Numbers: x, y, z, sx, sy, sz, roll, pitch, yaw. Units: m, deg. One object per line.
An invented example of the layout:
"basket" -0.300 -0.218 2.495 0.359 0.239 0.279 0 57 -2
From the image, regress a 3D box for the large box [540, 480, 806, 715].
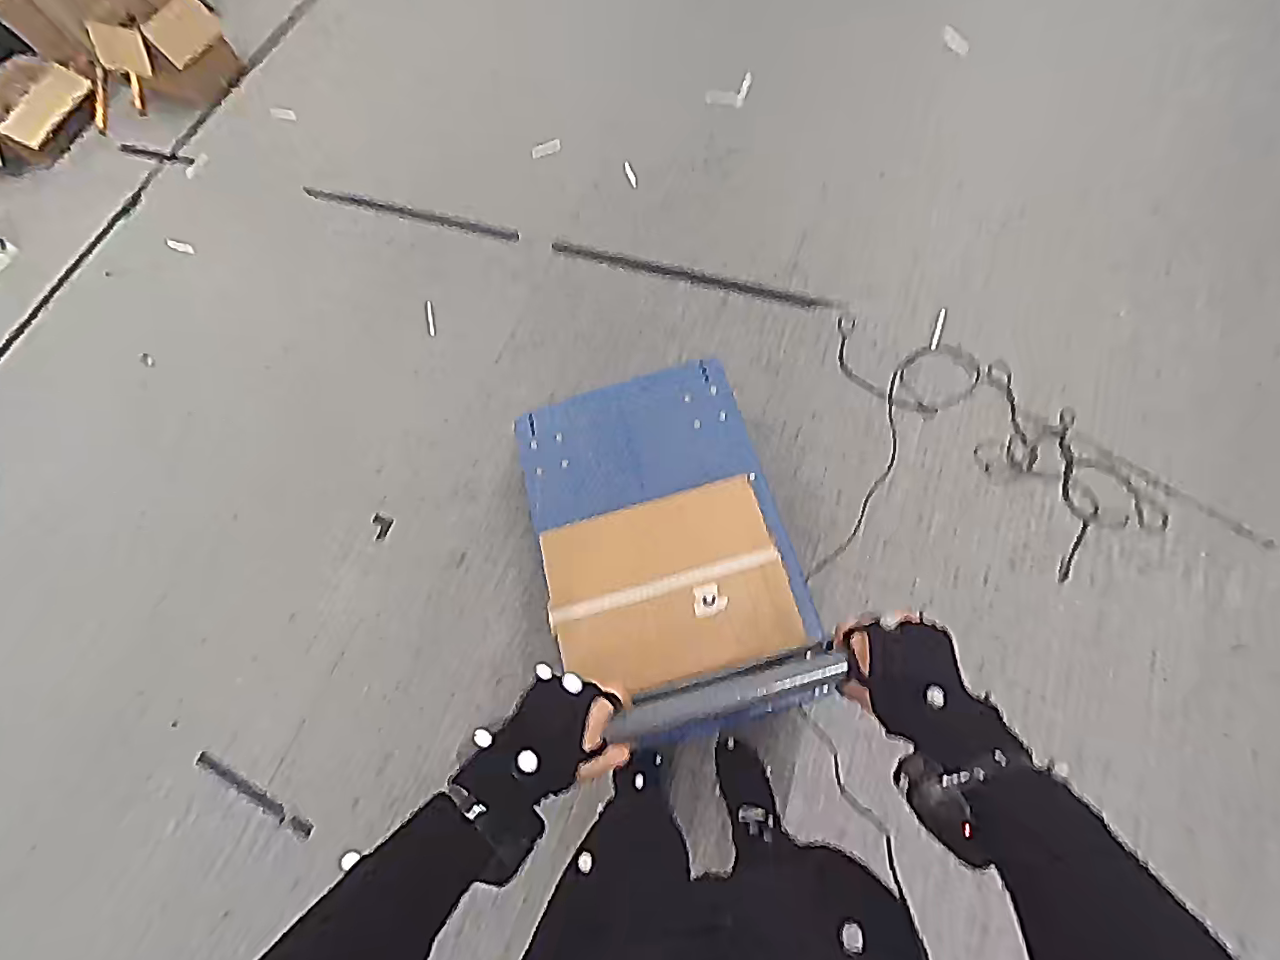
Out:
"large box" 0.060 0.247 1.070 0.408 0.320 0.320 -16 68 1
